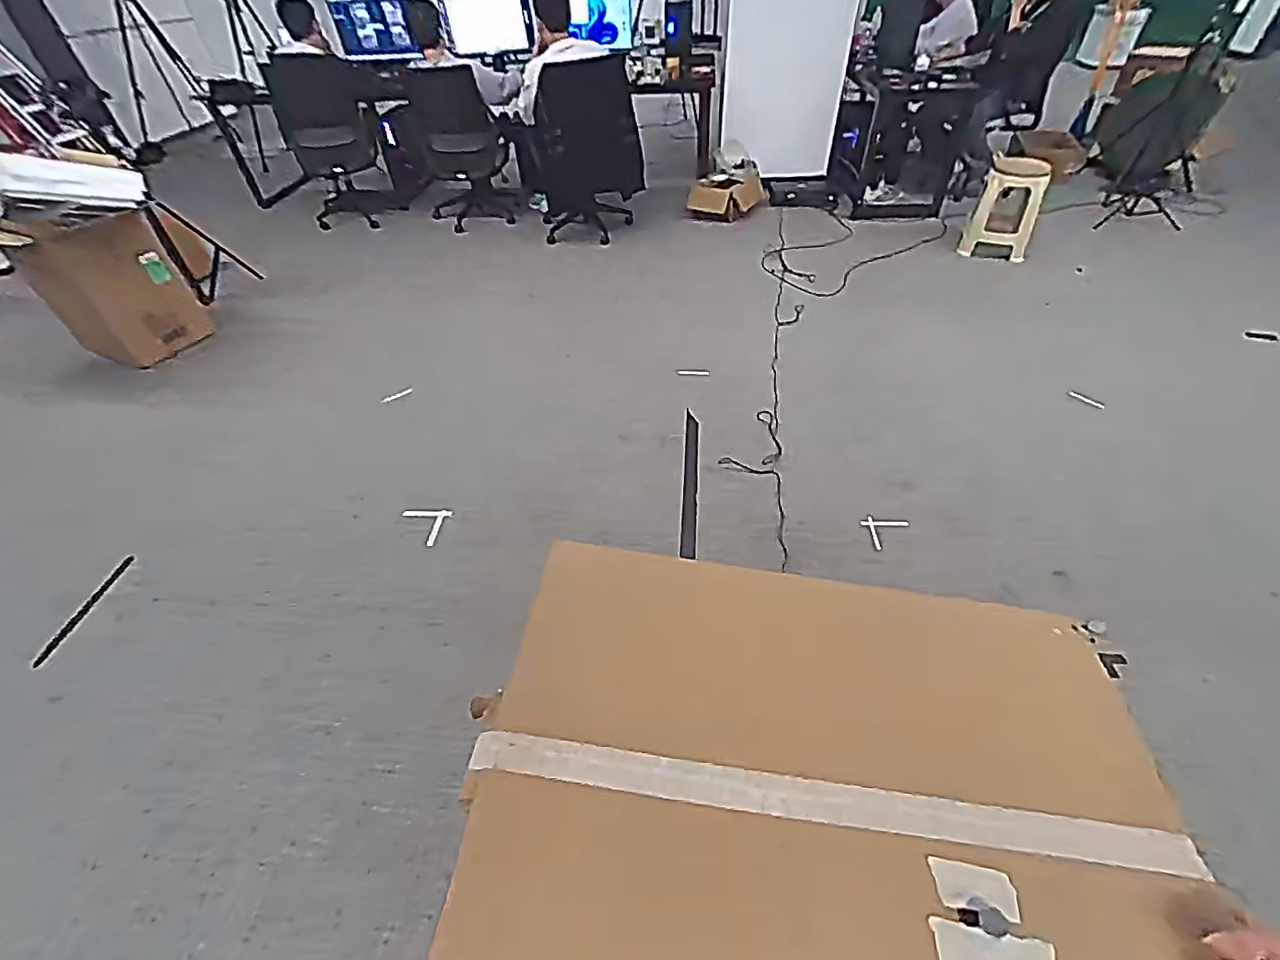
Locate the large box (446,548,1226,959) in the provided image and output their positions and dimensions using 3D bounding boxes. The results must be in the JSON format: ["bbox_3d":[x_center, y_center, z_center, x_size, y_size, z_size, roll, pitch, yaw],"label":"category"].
[{"bbox_3d":[0.100,0.290,0.428,0.408,0.320,0.320,9,46,1],"label":"large box"}]
